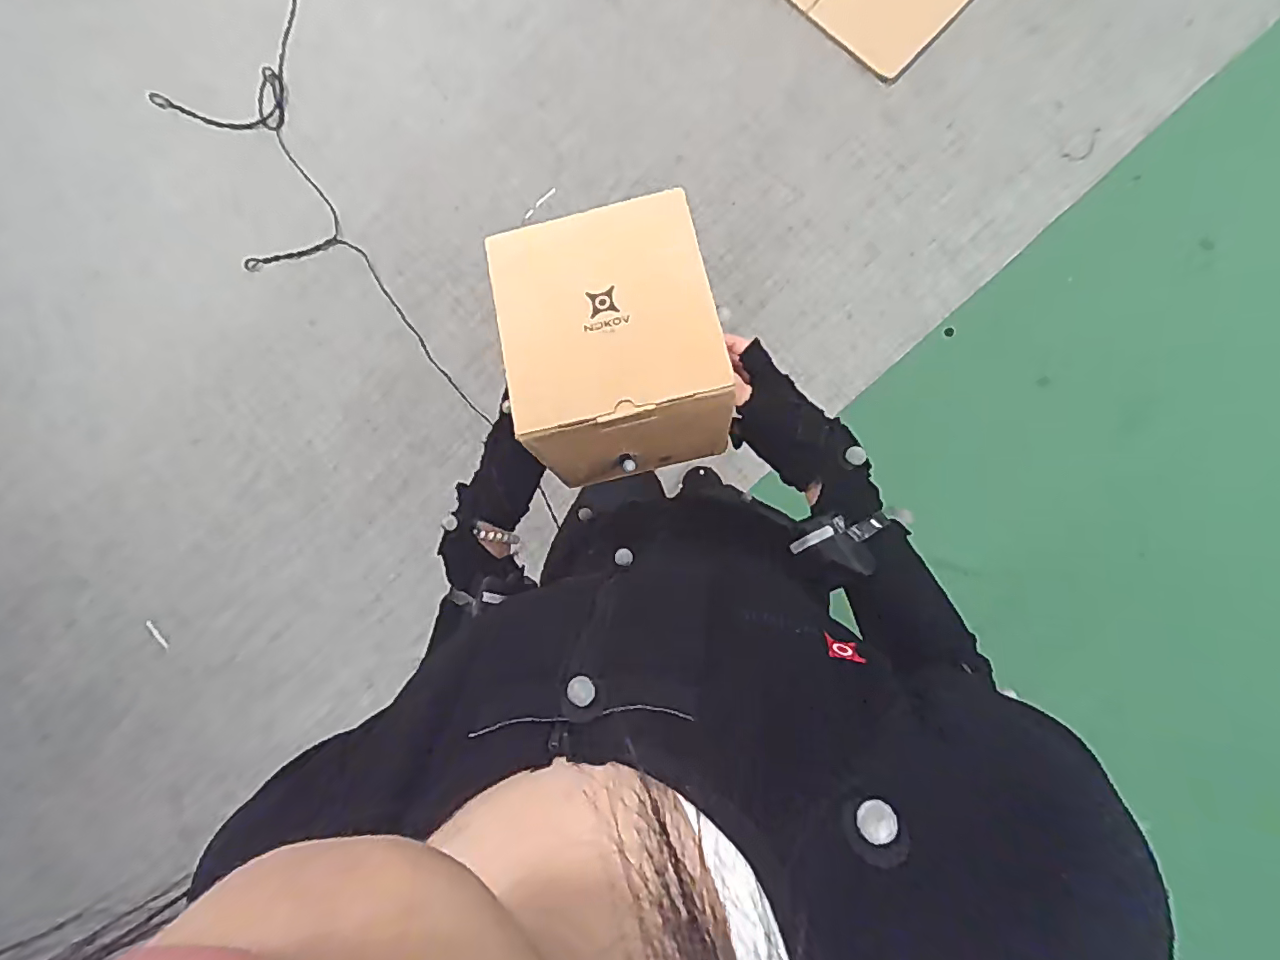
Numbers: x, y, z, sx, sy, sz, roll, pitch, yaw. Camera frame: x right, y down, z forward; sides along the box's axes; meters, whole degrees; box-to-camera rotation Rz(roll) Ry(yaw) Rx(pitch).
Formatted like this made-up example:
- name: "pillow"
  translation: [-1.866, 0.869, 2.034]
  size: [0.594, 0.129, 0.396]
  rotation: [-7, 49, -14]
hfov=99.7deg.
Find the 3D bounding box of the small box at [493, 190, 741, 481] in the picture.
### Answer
- name: "small box"
  translation: [-0.016, -0.114, 0.488]
  size: [0.168, 0.176, 0.179]
  rotation: [-13, 77, 3]
